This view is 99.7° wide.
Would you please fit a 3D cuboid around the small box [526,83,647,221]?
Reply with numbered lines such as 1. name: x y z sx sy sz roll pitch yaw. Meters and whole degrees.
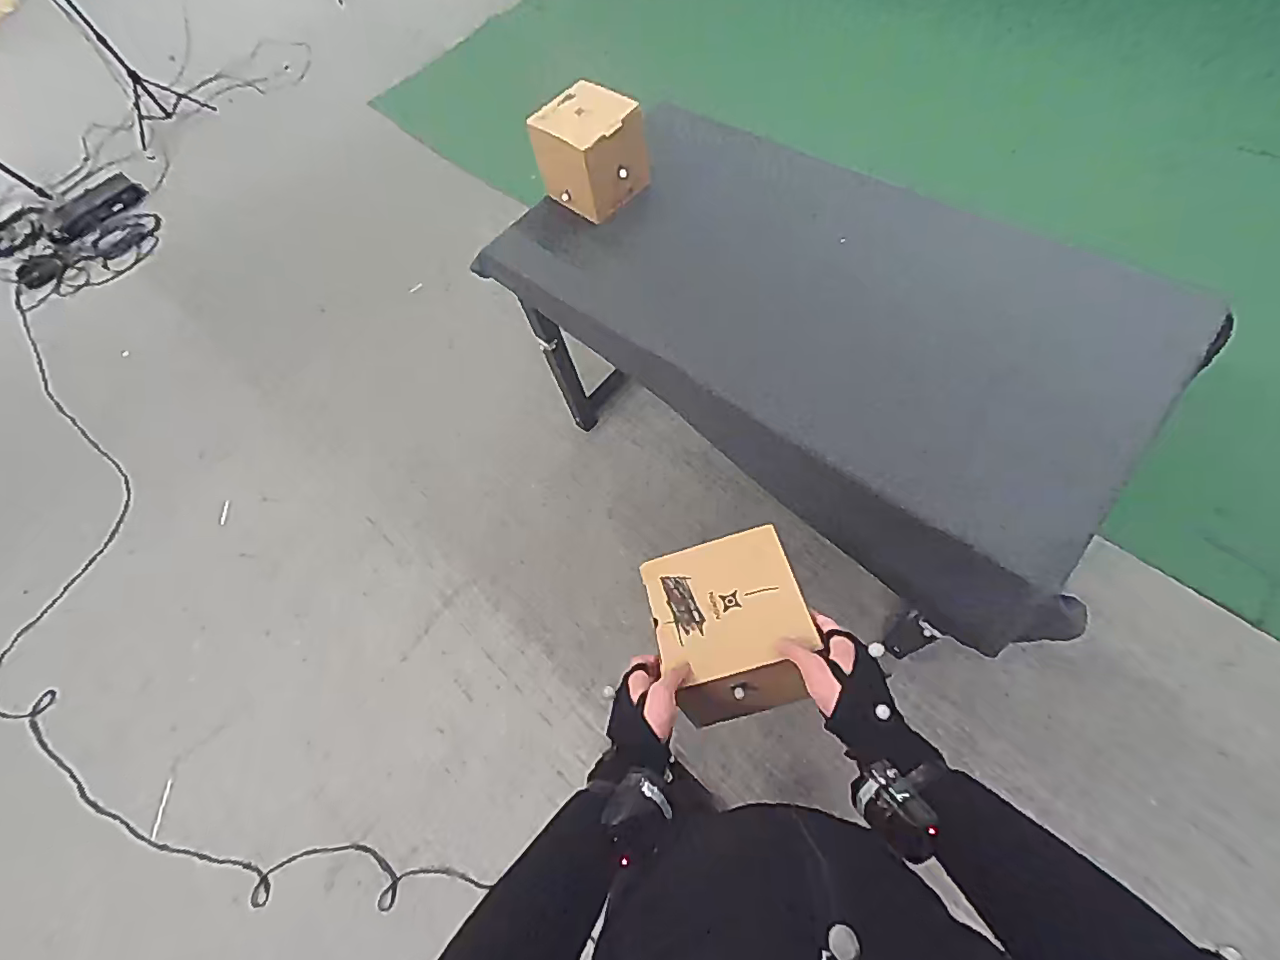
1. small box: -0.104 -0.684 1.143 0.179 0.176 0.168 39 75 22

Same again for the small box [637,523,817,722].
1. small box: 0.111 0.185 0.678 0.179 0.176 0.168 -17 51 6
